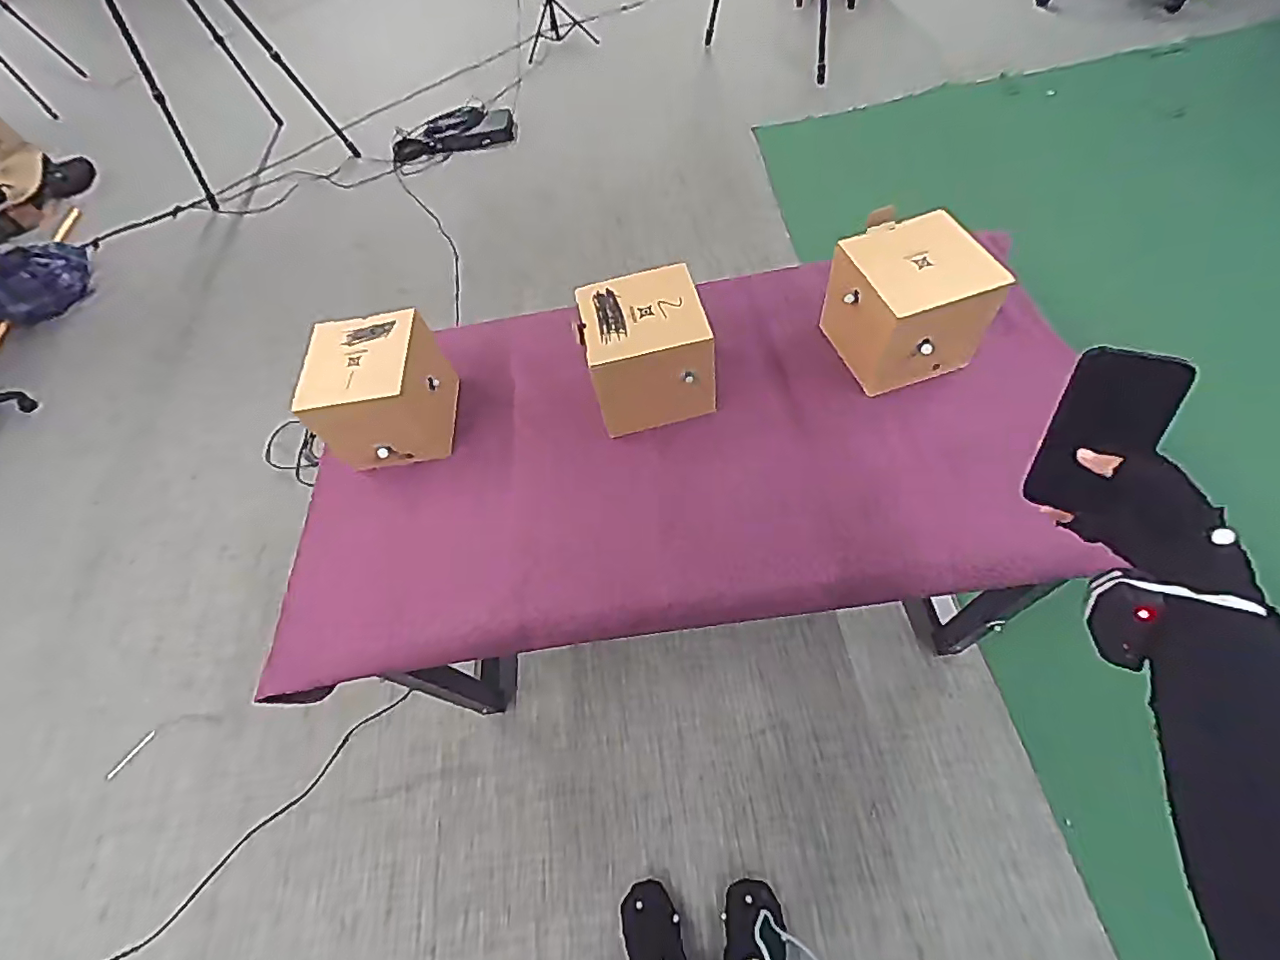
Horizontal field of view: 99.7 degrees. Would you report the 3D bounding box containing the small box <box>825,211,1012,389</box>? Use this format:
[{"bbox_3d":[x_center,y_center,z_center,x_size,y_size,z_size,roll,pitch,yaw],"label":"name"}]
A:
[{"bbox_3d":[0.397,-0.258,0.809,0.168,0.176,0.179,-18,58,-1],"label":"small box"}]

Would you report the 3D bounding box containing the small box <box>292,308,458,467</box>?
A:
[{"bbox_3d":[-0.407,-0.143,0.866,0.168,0.176,0.179,-8,60,4],"label":"small box"}]
